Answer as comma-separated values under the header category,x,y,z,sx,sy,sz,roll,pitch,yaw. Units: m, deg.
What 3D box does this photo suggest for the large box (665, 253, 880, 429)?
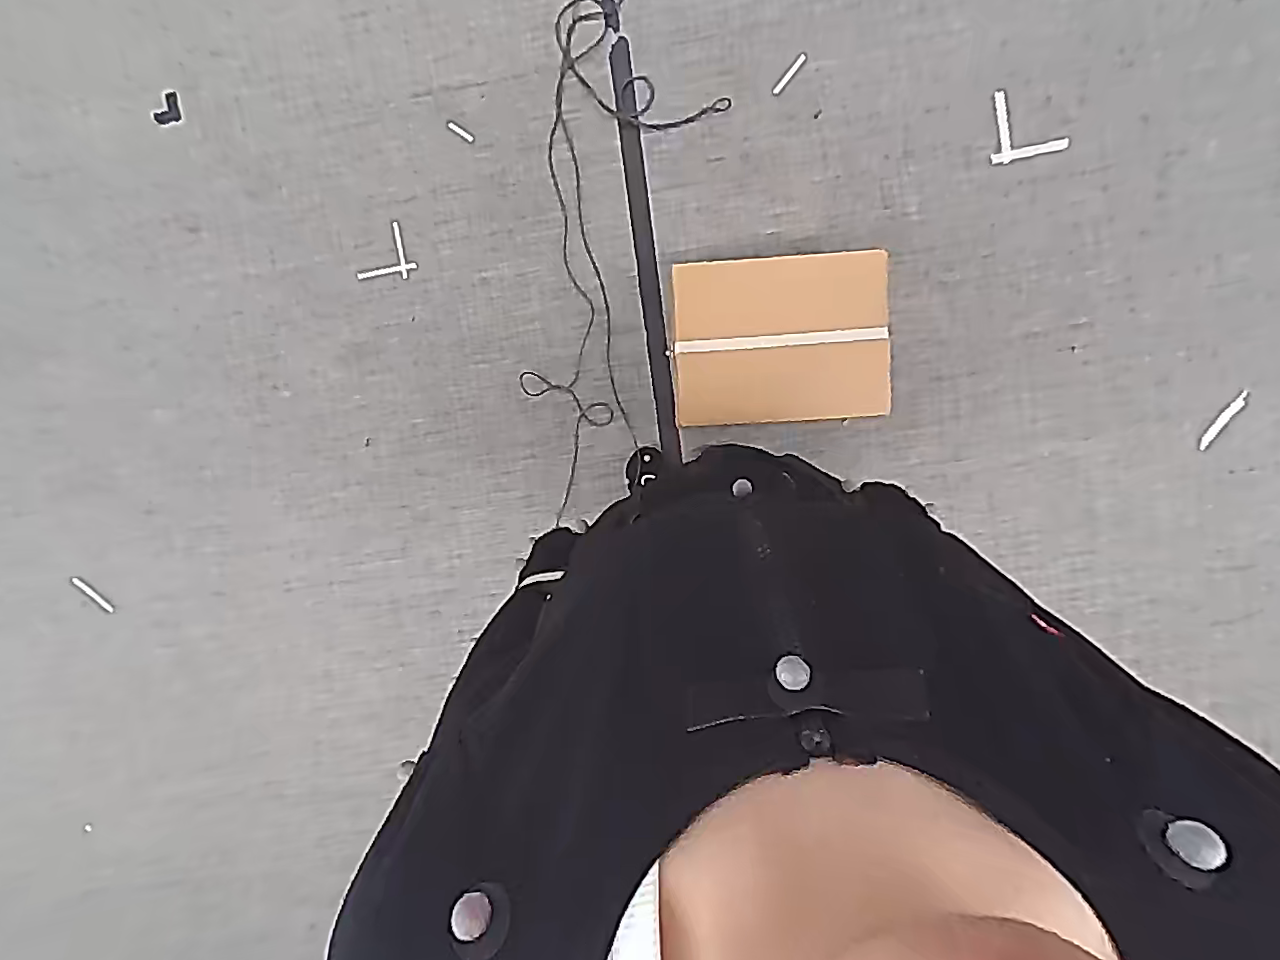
category,x,y,z,sx,sy,sz,roll,pitch,yaw
large box,0.267,-0.282,1.195,0.408,0.320,0.320,-3,94,2
